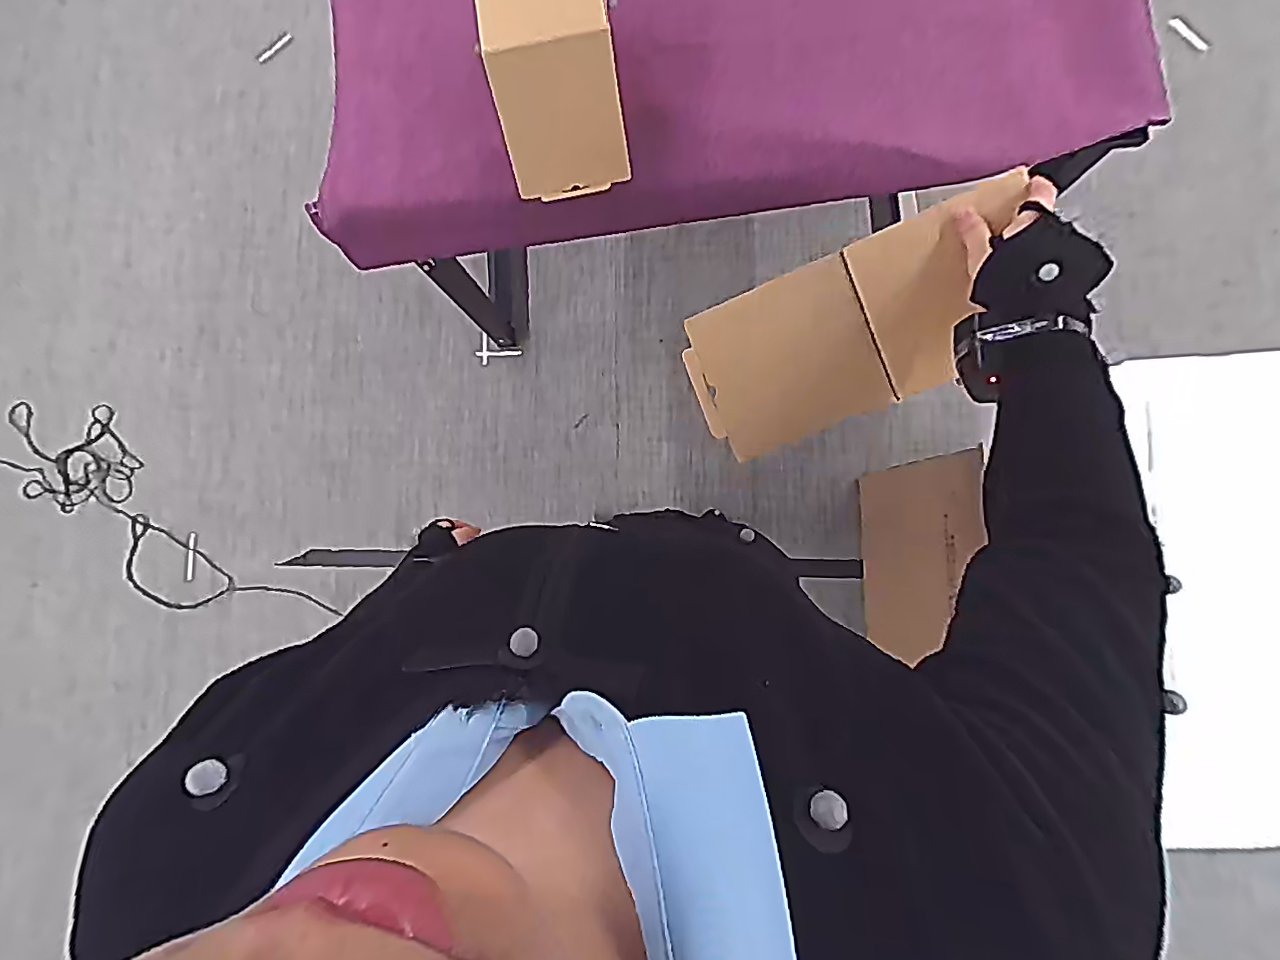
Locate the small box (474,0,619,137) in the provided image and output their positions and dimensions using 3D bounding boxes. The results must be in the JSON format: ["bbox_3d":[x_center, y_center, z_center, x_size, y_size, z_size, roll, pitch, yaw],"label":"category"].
[{"bbox_3d":[-0.127,-0.624,0.768,0.168,0.176,0.179,-8,83,3],"label":"small box"}]
